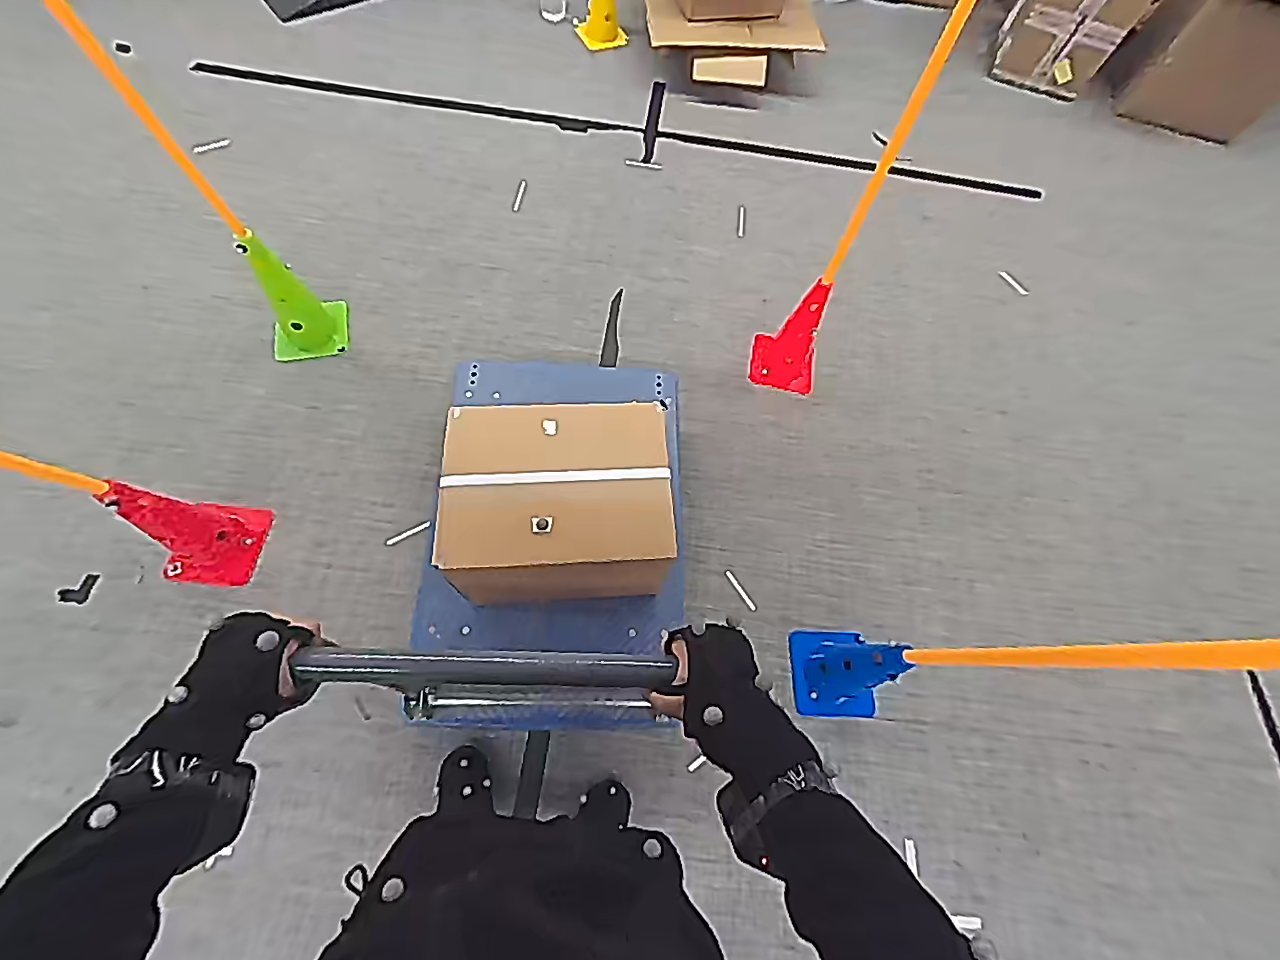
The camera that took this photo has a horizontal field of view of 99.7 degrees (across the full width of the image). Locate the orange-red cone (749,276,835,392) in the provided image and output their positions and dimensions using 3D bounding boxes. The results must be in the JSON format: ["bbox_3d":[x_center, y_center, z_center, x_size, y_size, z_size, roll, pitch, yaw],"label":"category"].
[{"bbox_3d":[0.469,-0.443,1.546,0.199,0.360,0.198,14,66,0],"label":"orange-red cone"}]

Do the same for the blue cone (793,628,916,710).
[{"bbox_3d":[0.493,0.395,1.189,0.193,0.380,0.192,4,64,-4],"label":"blue cone"}]
